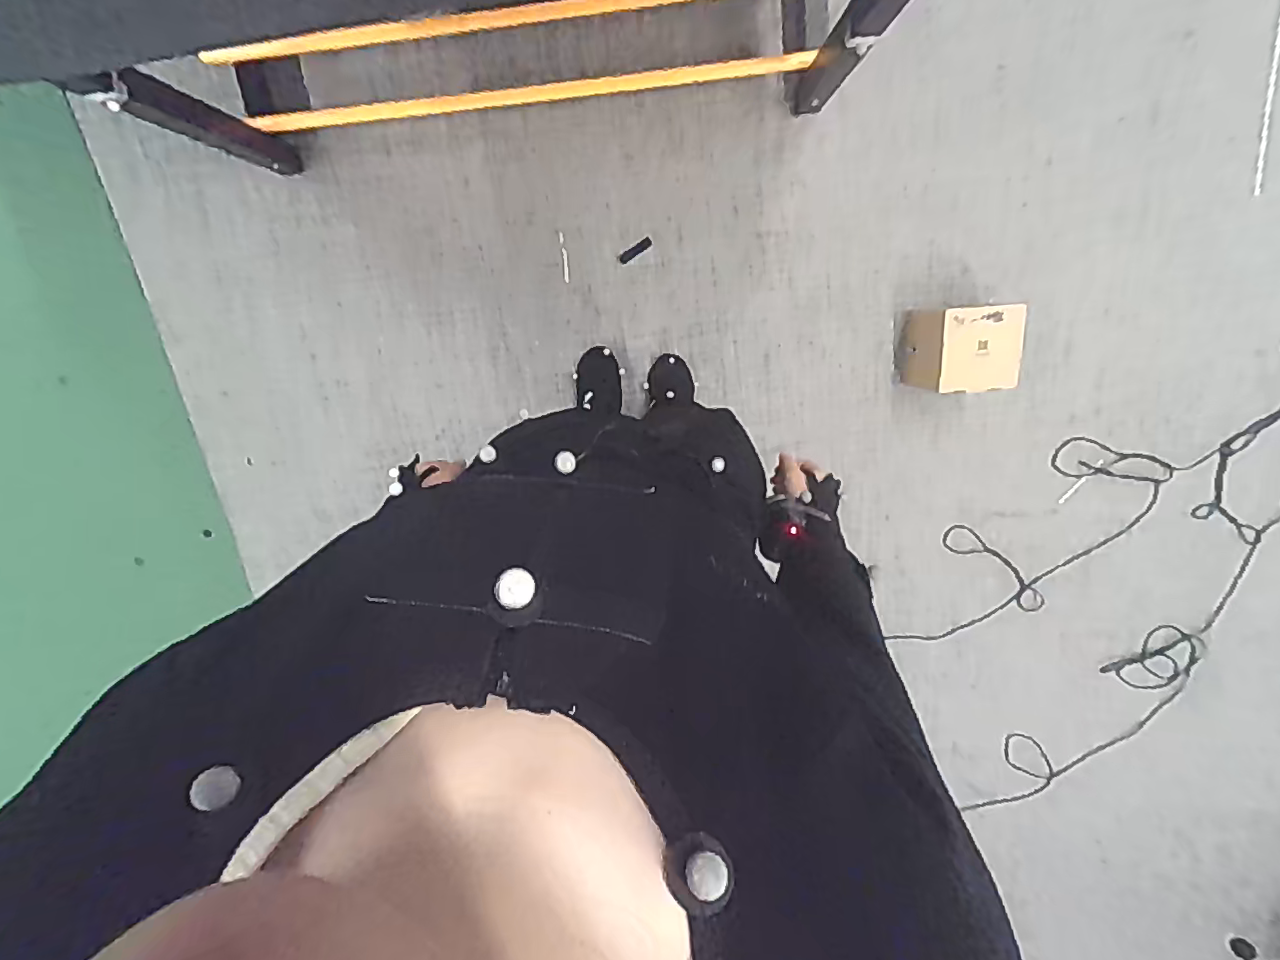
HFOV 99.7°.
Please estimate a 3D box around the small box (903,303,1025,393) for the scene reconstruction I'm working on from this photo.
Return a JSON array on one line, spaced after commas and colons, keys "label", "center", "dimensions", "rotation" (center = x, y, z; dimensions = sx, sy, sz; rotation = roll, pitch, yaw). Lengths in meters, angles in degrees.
[{"label": "small box", "center": [0.705, -0.298, 1.201], "dimensions": [0.168, 0.176, 0.179], "rotation": [-3, 108, 1]}]
